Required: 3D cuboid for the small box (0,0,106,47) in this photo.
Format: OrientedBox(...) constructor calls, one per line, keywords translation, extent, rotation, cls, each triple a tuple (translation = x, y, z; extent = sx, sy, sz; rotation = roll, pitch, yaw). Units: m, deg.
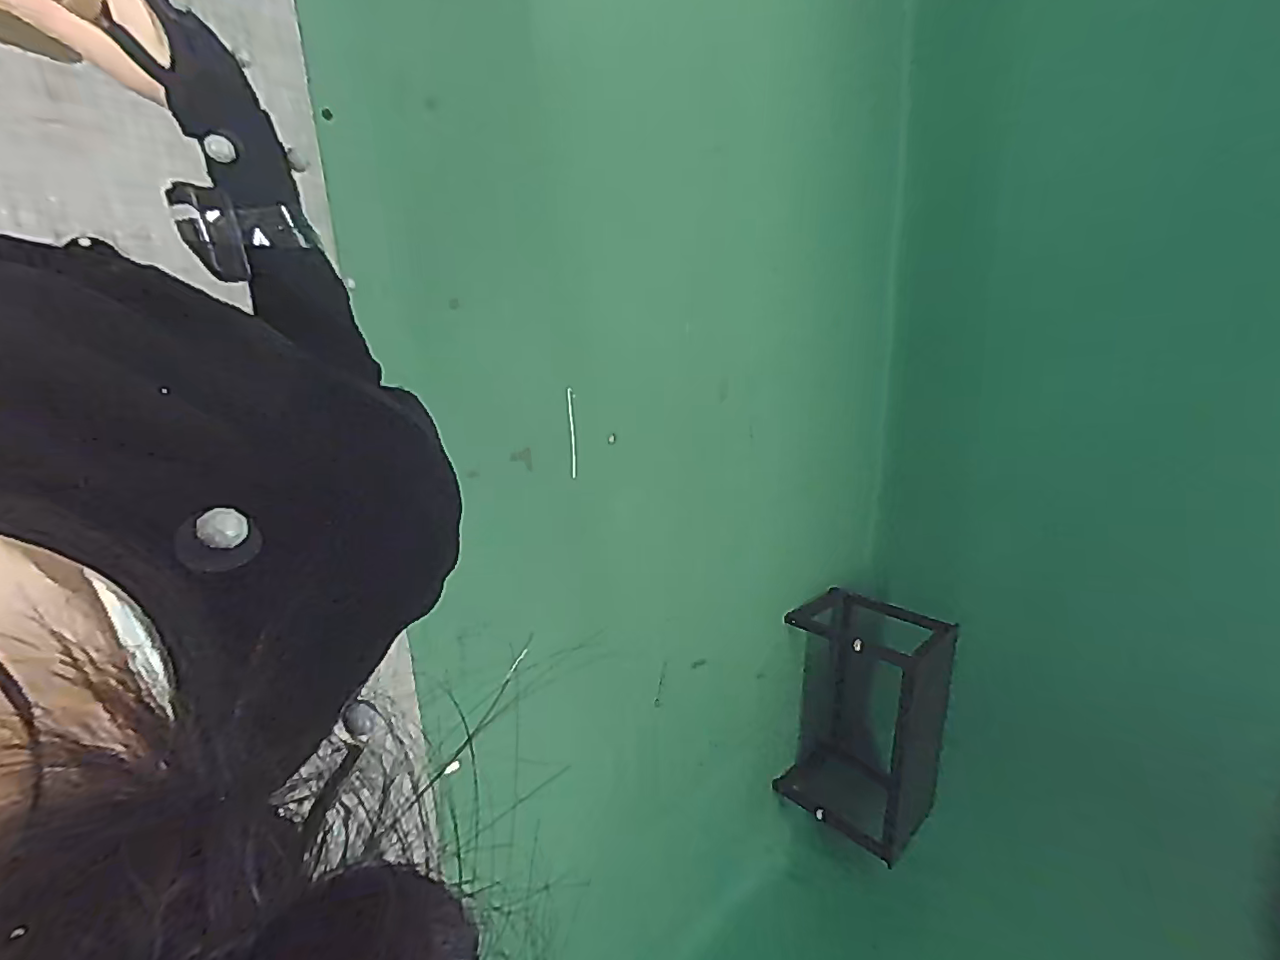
OrientedBox(translation=(-0.434, -0.390, 0.307), extent=(0.168, 0.176, 0.179), rotation=(-8, 119, -47), cls="small box")
